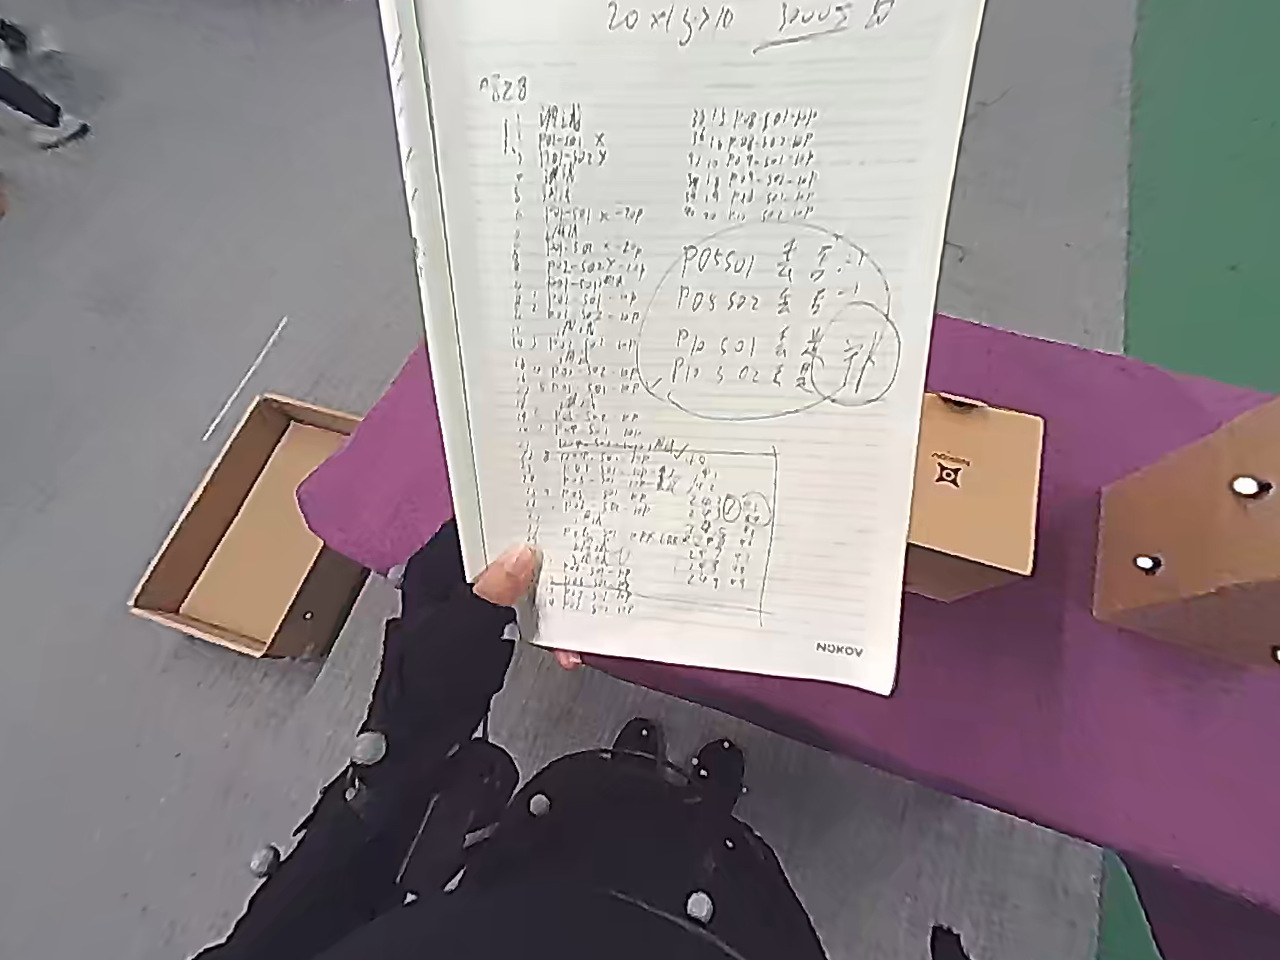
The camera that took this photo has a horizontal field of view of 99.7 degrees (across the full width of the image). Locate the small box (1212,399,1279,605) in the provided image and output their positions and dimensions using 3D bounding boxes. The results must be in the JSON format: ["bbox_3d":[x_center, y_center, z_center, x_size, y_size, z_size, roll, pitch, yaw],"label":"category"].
[{"bbox_3d":[0.609,0.020,0.420,0.168,0.176,0.179,19,71,10],"label":"small box"}]

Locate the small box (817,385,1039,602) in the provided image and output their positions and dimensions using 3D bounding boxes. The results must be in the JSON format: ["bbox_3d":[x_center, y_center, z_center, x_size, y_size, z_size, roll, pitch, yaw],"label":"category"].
[{"bbox_3d":[0.312,0.025,0.617,0.168,0.176,0.179,16,69,10],"label":"small box"}]

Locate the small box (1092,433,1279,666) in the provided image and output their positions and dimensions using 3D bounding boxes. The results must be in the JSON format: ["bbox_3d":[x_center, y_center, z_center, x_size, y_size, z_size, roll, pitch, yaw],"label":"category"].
[{"bbox_3d":[0.625,0.083,0.570,0.168,0.176,0.179,19,70,11],"label":"small box"}]
